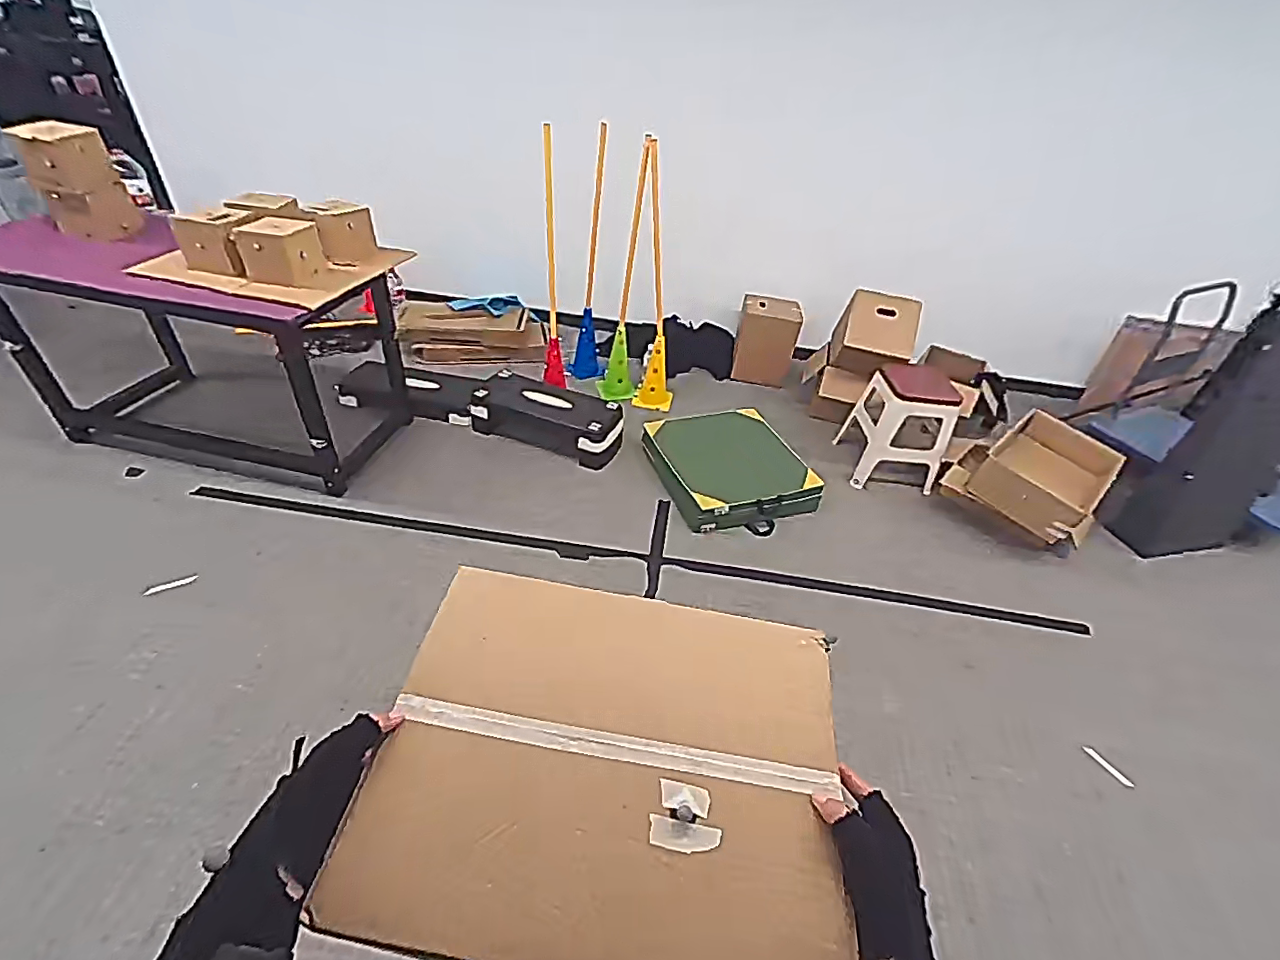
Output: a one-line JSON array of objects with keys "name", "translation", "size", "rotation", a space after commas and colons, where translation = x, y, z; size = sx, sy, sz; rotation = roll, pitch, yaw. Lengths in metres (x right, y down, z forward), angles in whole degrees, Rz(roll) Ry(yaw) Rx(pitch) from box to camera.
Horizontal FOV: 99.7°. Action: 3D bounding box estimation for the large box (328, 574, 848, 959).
[{"name": "large box", "translation": [-0.037, 0.347, 0.608], "size": [0.408, 0.320, 0.320], "rotation": [10, 46, 2]}]
